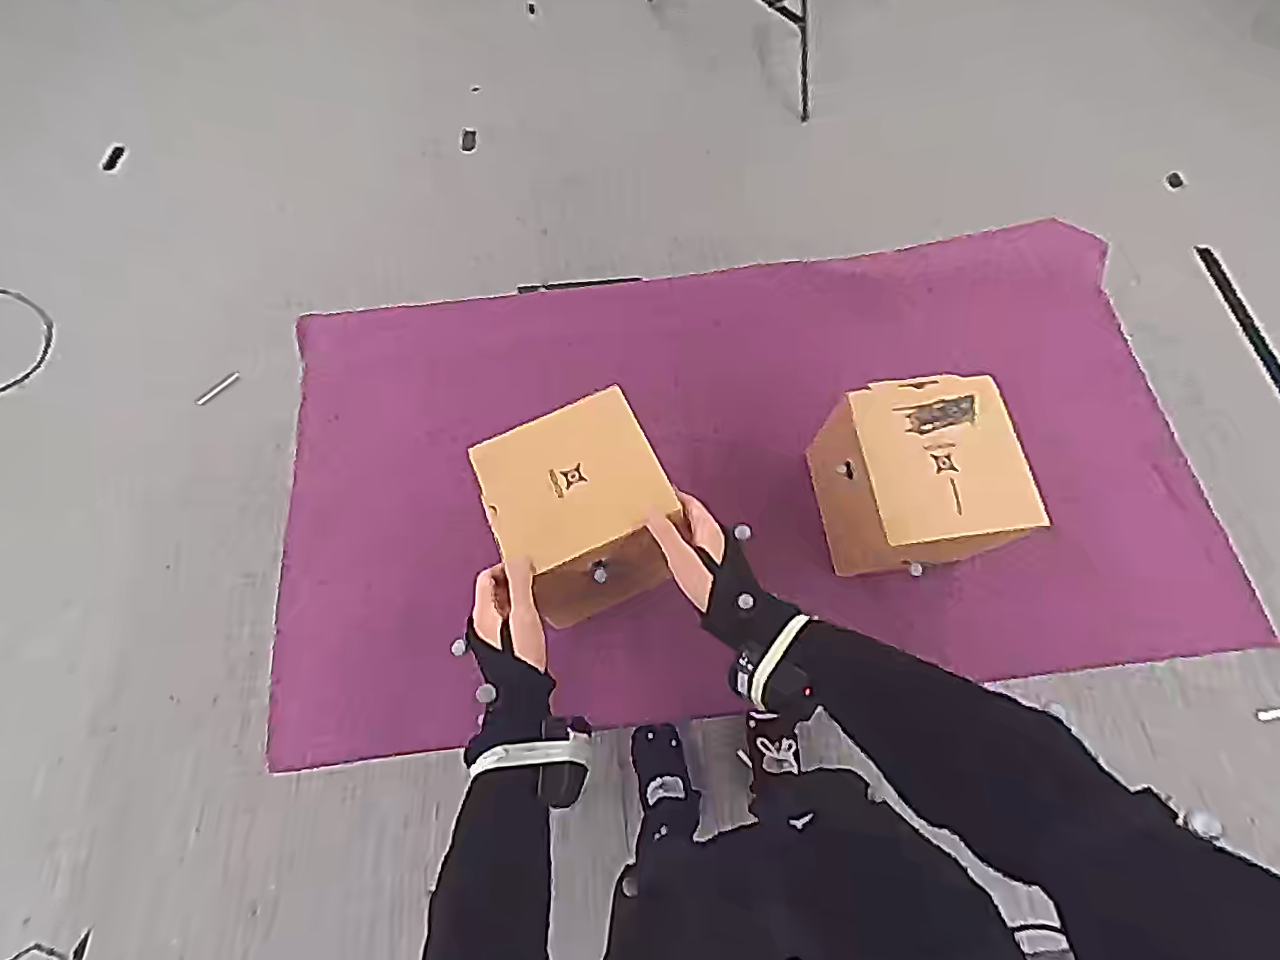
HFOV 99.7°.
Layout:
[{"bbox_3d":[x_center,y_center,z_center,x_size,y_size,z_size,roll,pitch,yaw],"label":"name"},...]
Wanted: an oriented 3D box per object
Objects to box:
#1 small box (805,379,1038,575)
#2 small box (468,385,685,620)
[{"bbox_3d":[0.311,0.004,0.645,0.168,0.176,0.179,-7,70,-1],"label":"small box"},{"bbox_3d":[-0.059,0.033,0.601,0.179,0.176,0.168,-25,61,-4],"label":"small box"}]
